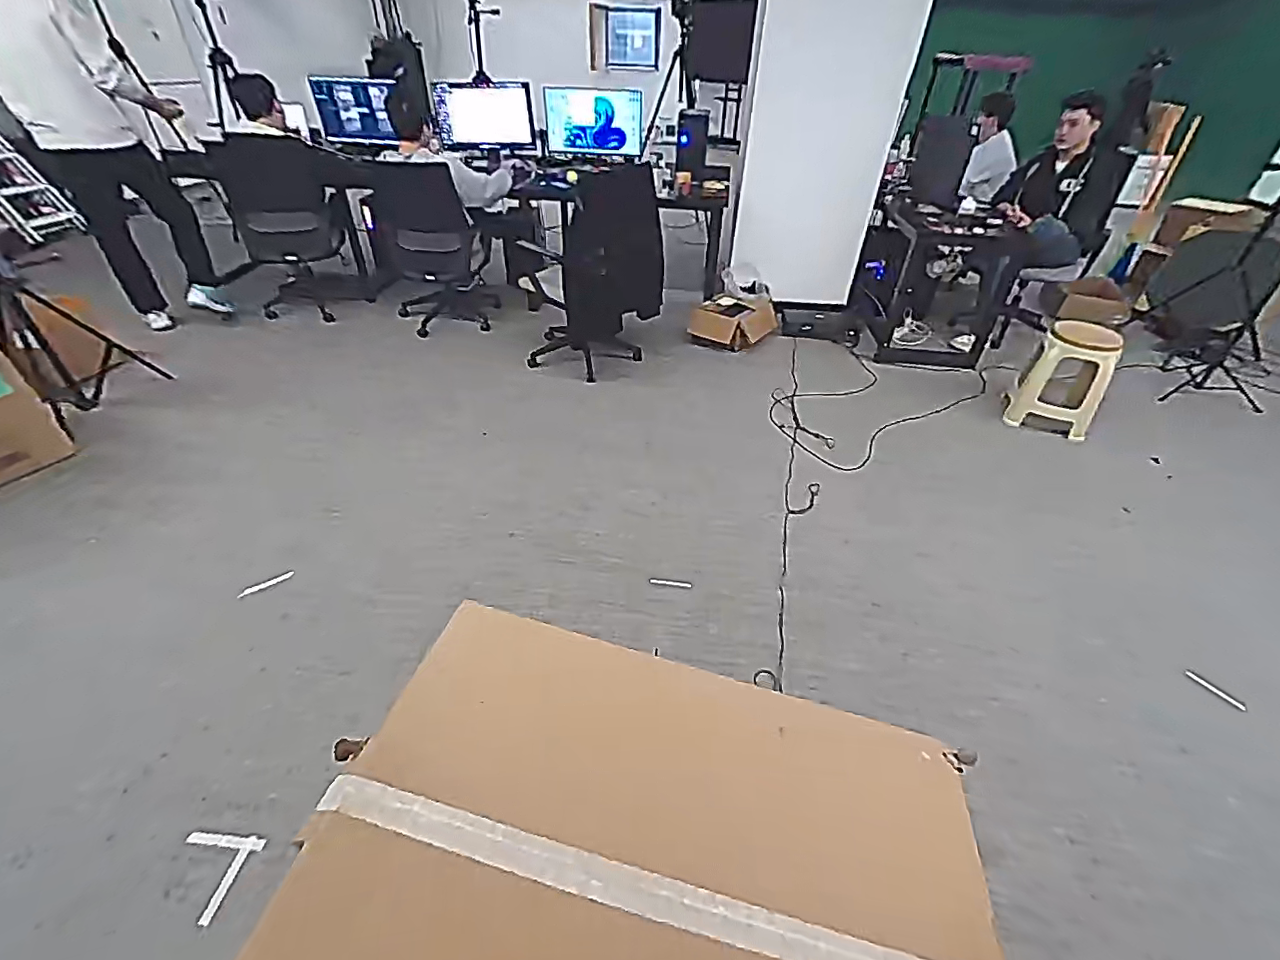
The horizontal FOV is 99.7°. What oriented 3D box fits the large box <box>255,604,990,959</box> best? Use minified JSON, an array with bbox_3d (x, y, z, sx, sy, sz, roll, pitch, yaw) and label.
[{"bbox_3d":[-0.011,0.357,0.419,0.408,0.320,0.320,16,39,5],"label":"large box"}]
